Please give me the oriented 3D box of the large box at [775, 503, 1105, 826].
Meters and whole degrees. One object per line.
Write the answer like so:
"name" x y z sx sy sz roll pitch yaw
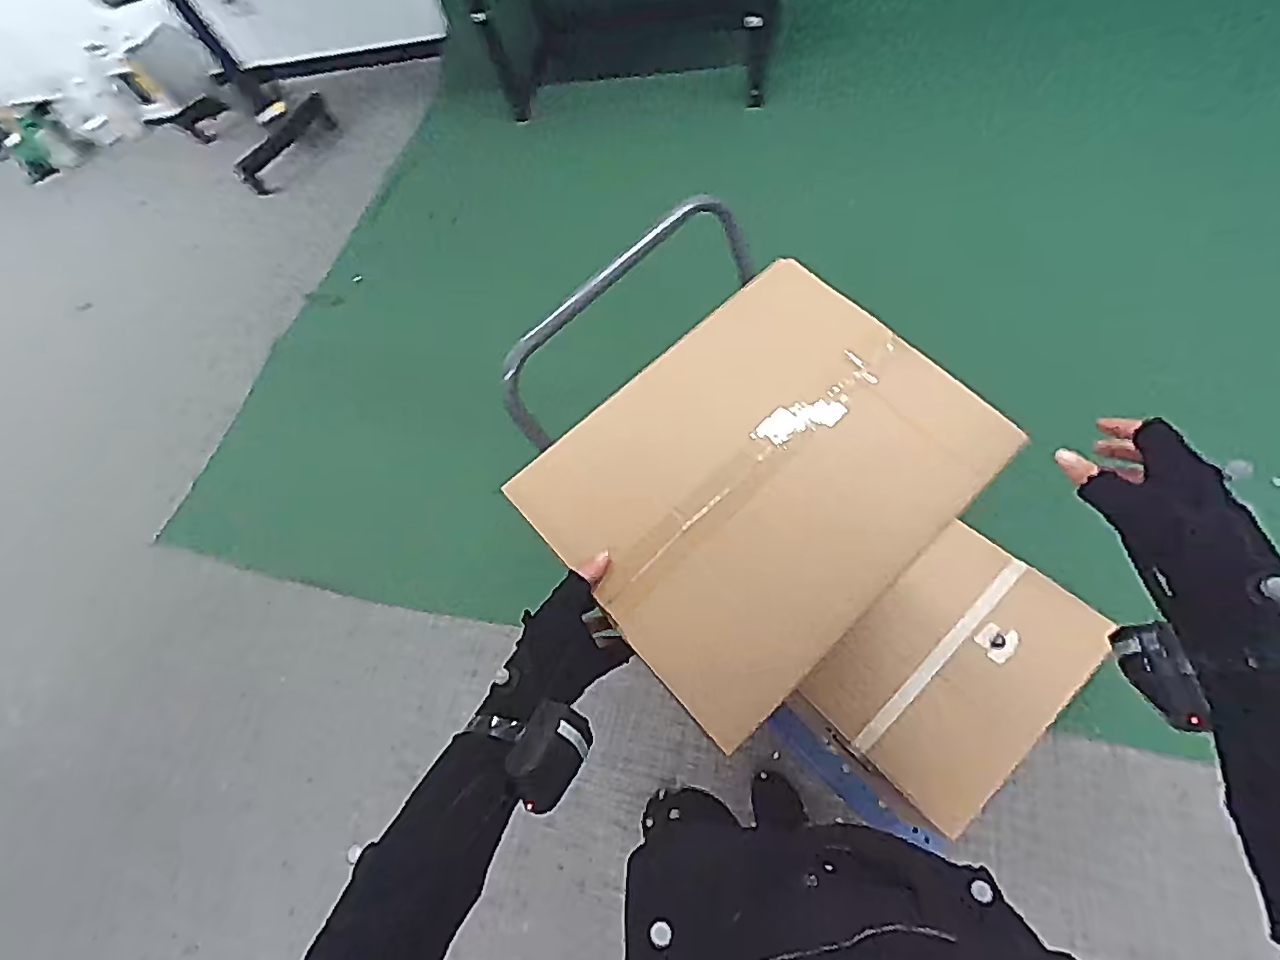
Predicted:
"large box" 0.491 0.328 0.971 0.408 0.320 0.320 -42 61 -10
